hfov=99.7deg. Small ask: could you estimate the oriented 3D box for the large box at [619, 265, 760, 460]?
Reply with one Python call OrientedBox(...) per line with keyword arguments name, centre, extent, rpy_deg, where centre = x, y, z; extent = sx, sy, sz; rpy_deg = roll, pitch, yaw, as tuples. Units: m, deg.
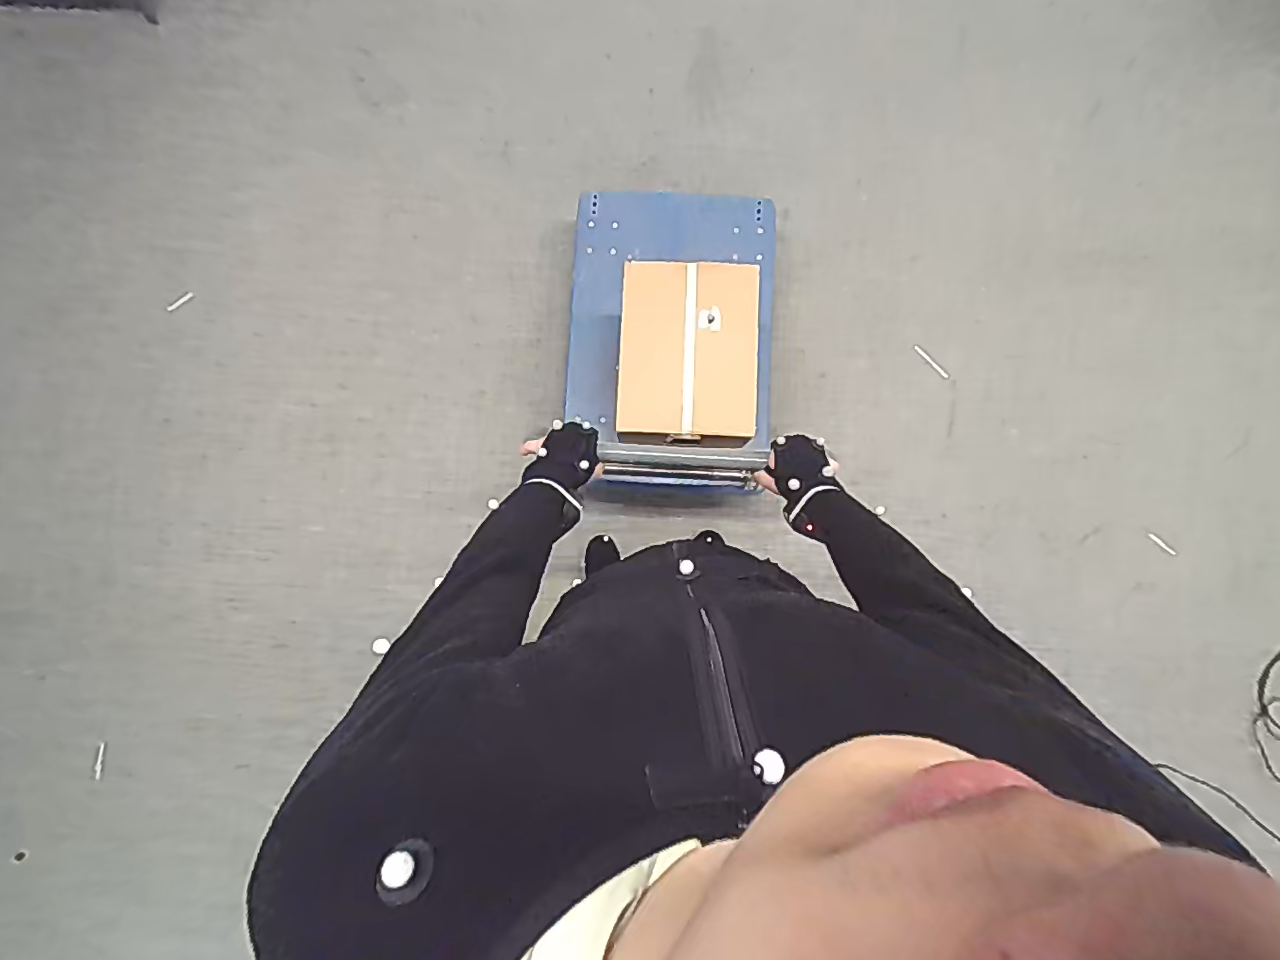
OrientedBox(name="large box", centre=(0.115, -0.271, 1.355), extent=(0.320, 0.320, 0.408), rpy_deg=(2, 83, 0))
